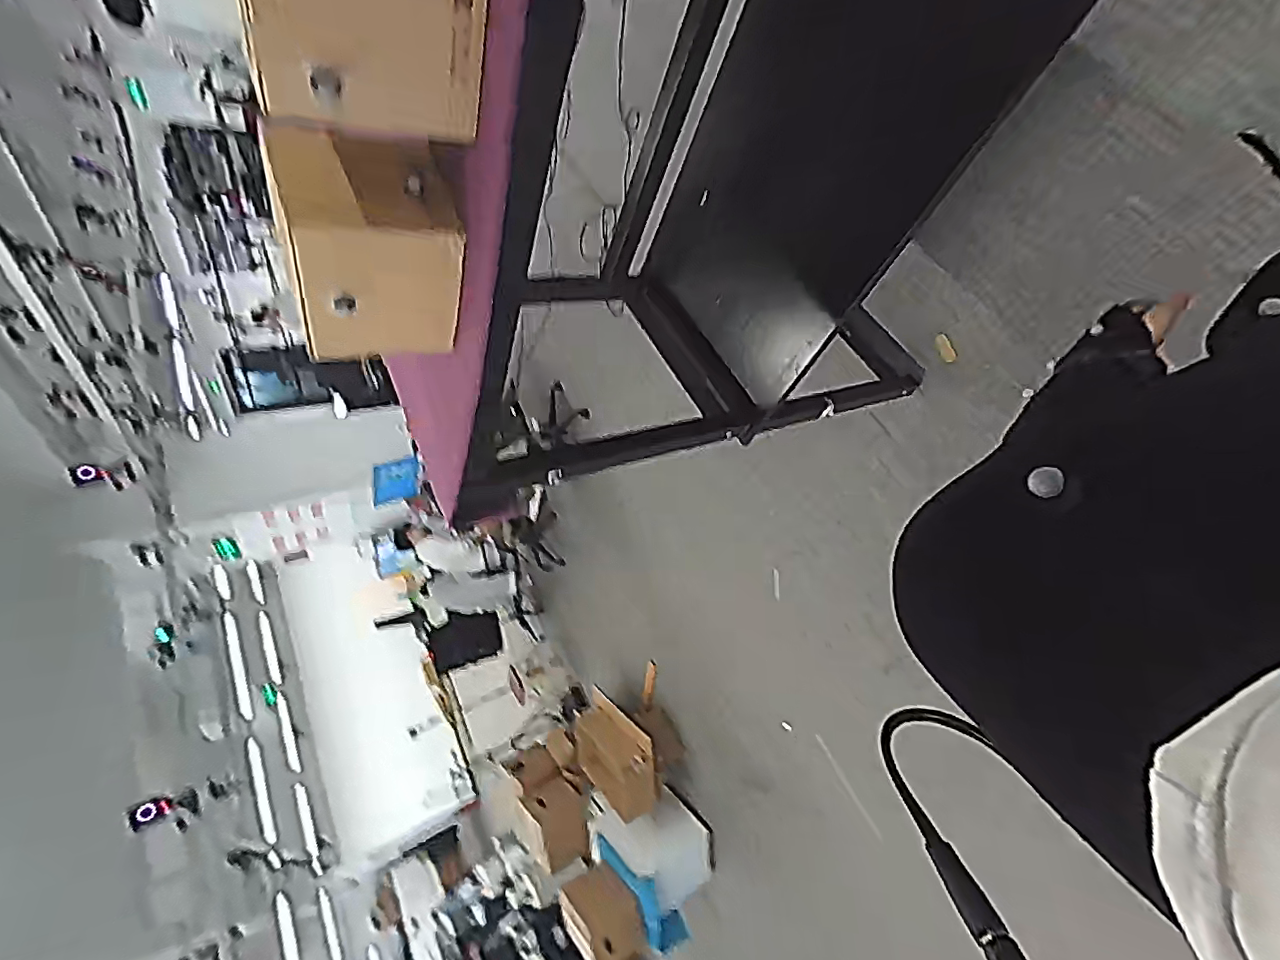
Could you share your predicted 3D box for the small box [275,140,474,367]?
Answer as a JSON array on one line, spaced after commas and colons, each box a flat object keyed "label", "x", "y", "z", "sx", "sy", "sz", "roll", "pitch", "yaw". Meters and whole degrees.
[{"label": "small box", "x": -0.305, "y": -0.256, "z": 0.636, "sx": 0.168, "sy": 0.176, "sz": 0.179, "roll": 62, "pitch": 146, "yaw": 22}]
